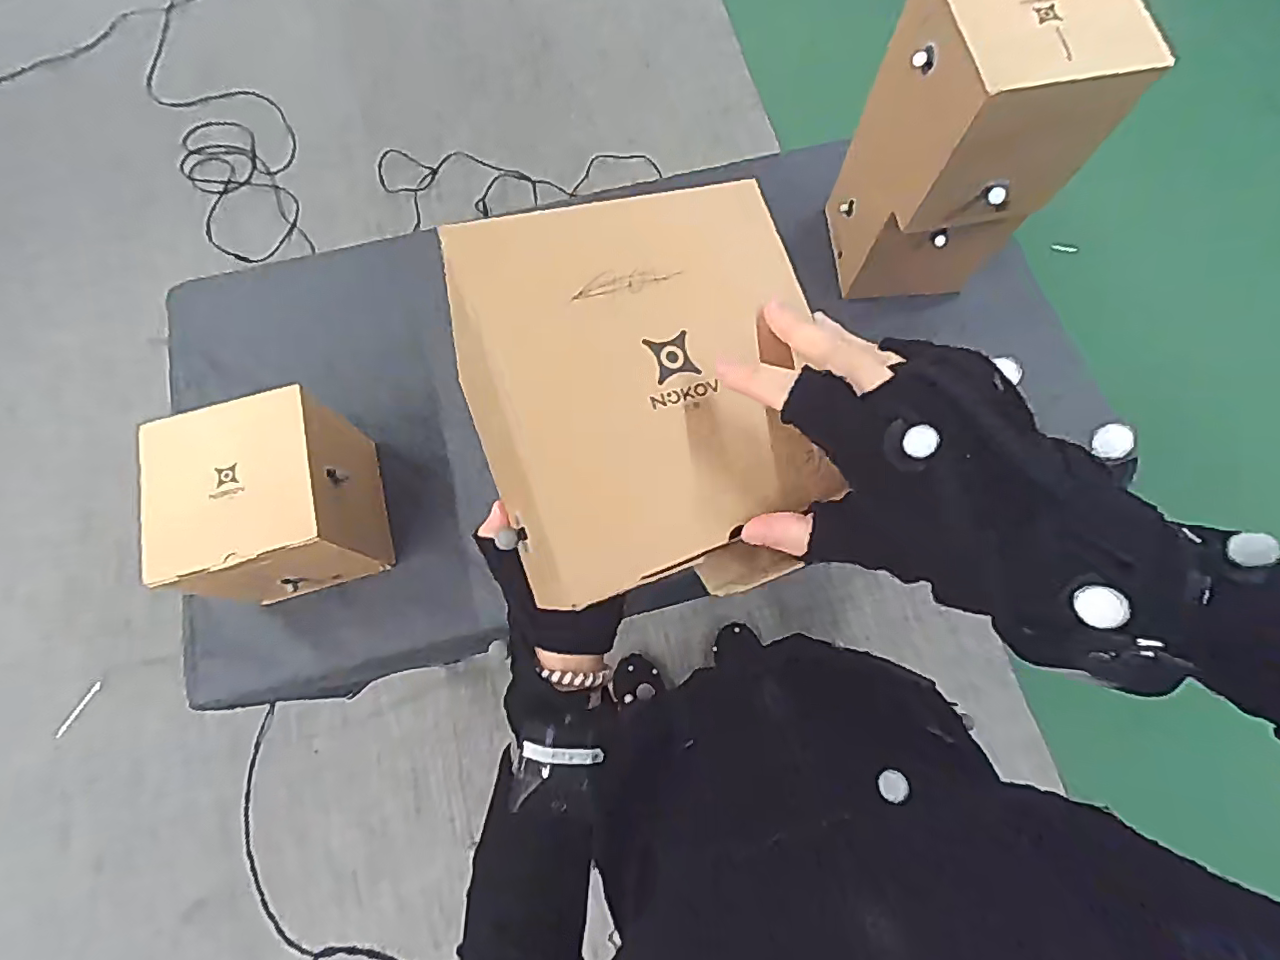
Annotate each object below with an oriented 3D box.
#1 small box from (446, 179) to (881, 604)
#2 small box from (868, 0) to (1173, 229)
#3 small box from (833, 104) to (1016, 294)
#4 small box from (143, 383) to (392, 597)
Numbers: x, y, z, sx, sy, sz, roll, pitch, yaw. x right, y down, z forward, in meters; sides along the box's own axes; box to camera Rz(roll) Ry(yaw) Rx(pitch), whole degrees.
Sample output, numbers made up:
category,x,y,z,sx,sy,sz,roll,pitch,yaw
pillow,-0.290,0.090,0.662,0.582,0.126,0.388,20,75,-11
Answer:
category,x,y,z,sx,sy,sz,roll,pitch,yaw
small box,-0.004,-0.037,0.323,0.168,0.176,0.179,-18,83,-19
small box,0.360,-0.395,0.555,0.168,0.176,0.179,-9,74,-1
small box,0.369,-0.366,0.717,0.179,0.176,0.168,-3,74,0
small box,-0.406,0.021,0.612,0.168,0.176,0.179,-16,73,-5
